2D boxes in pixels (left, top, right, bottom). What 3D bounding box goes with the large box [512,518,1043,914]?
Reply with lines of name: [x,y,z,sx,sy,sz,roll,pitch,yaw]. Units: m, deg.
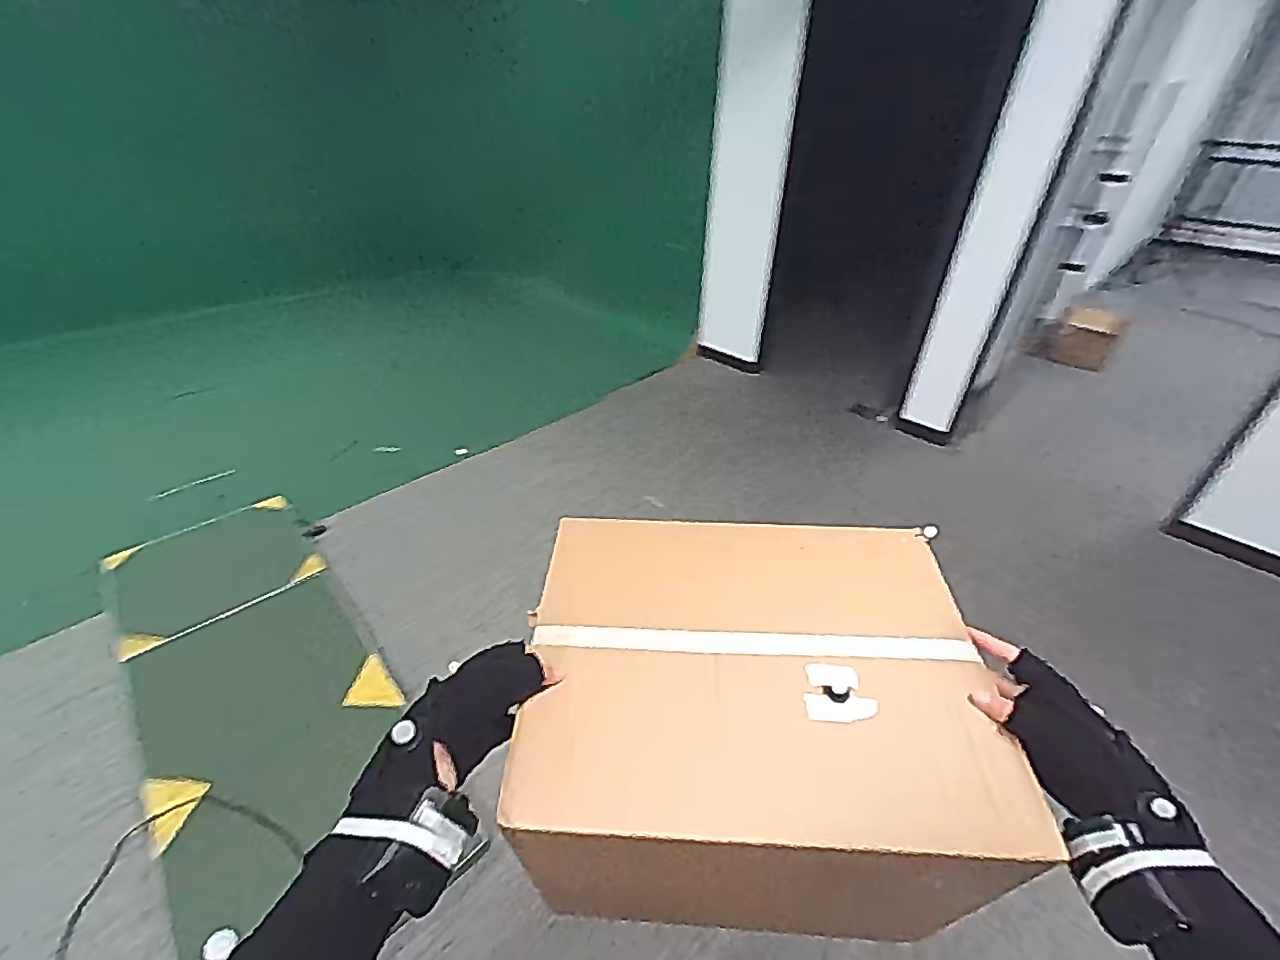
large box: [0.103,0.260,0.607,0.408,0.320,0.320,2,43,2]
